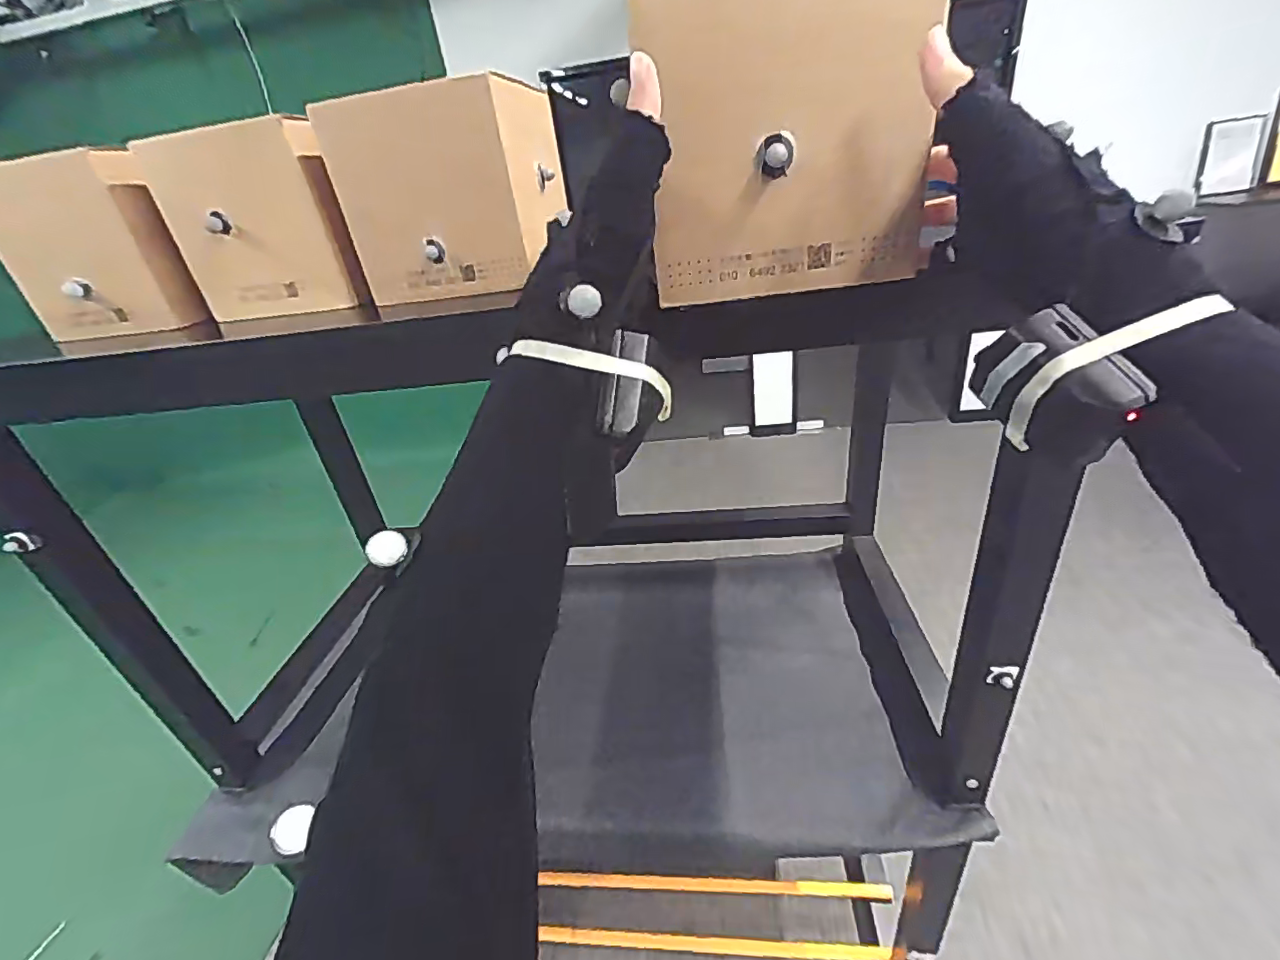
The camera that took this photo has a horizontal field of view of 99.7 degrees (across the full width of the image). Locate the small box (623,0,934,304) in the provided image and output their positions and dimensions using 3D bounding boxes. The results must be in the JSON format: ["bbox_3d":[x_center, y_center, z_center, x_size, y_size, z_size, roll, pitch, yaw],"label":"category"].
[{"bbox_3d":[0.088,-0.230,0.384,0.168,0.176,0.179,-4,31,7],"label":"small box"}]

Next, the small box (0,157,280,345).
[{"bbox_3d":[-0.559,-0.263,0.622,0.168,0.176,0.179,-3,30,10],"label":"small box"}]
